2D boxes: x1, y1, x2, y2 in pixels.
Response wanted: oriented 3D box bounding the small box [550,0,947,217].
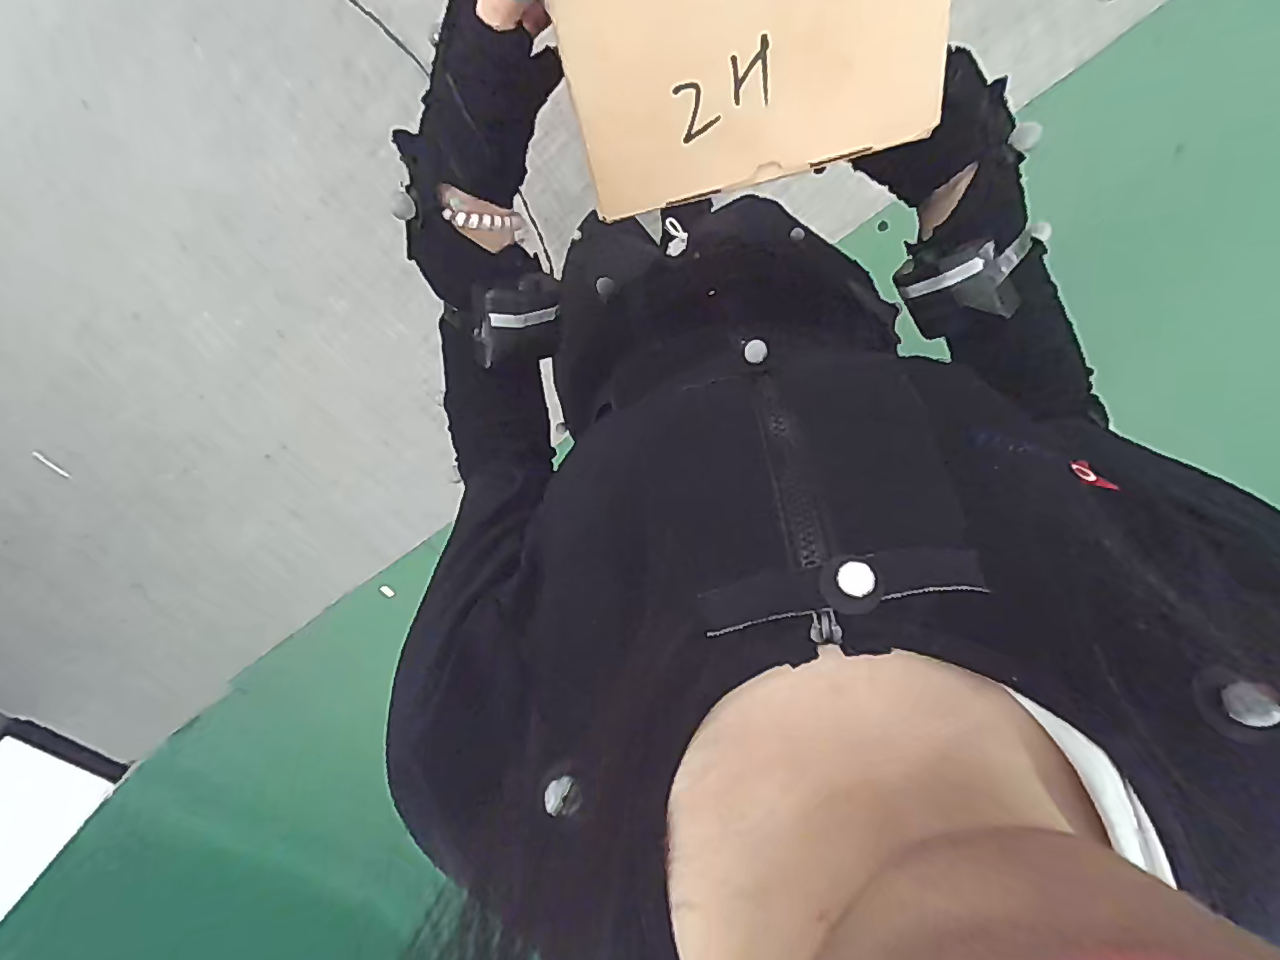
[{"bbox_3d":[0.036,-0.260,0.281,0.168,0.176,0.179,-13,126,3],"label":"small box"}]
